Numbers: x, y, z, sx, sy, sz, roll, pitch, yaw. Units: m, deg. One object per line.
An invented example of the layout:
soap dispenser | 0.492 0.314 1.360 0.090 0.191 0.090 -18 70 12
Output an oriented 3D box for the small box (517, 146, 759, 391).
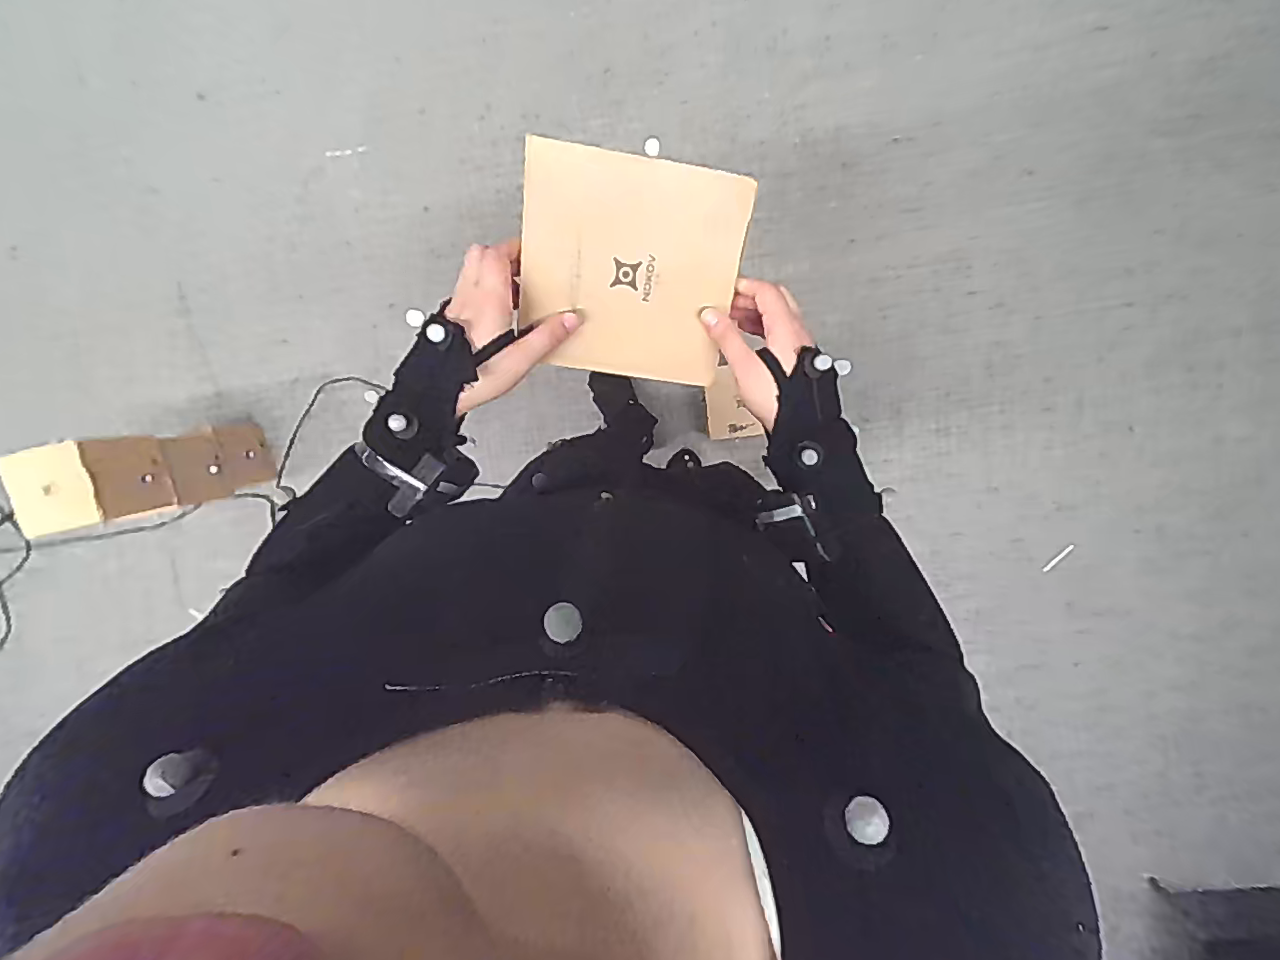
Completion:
small box | -0.011 -0.194 0.499 0.179 0.176 0.168 6 116 -6

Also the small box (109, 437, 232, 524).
small box | -1.134 -0.004 1.288 0.179 0.176 0.168 -12 97 4

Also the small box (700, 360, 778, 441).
small box | 0.240 -0.194 1.342 0.168 0.176 0.179 -6 97 4

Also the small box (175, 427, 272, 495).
small box | -1.130 -0.042 1.448 0.179 0.176 0.168 -15 96 6

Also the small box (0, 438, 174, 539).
small box | -1.140 0.011 1.126 0.179 0.176 0.168 -13 97 4
